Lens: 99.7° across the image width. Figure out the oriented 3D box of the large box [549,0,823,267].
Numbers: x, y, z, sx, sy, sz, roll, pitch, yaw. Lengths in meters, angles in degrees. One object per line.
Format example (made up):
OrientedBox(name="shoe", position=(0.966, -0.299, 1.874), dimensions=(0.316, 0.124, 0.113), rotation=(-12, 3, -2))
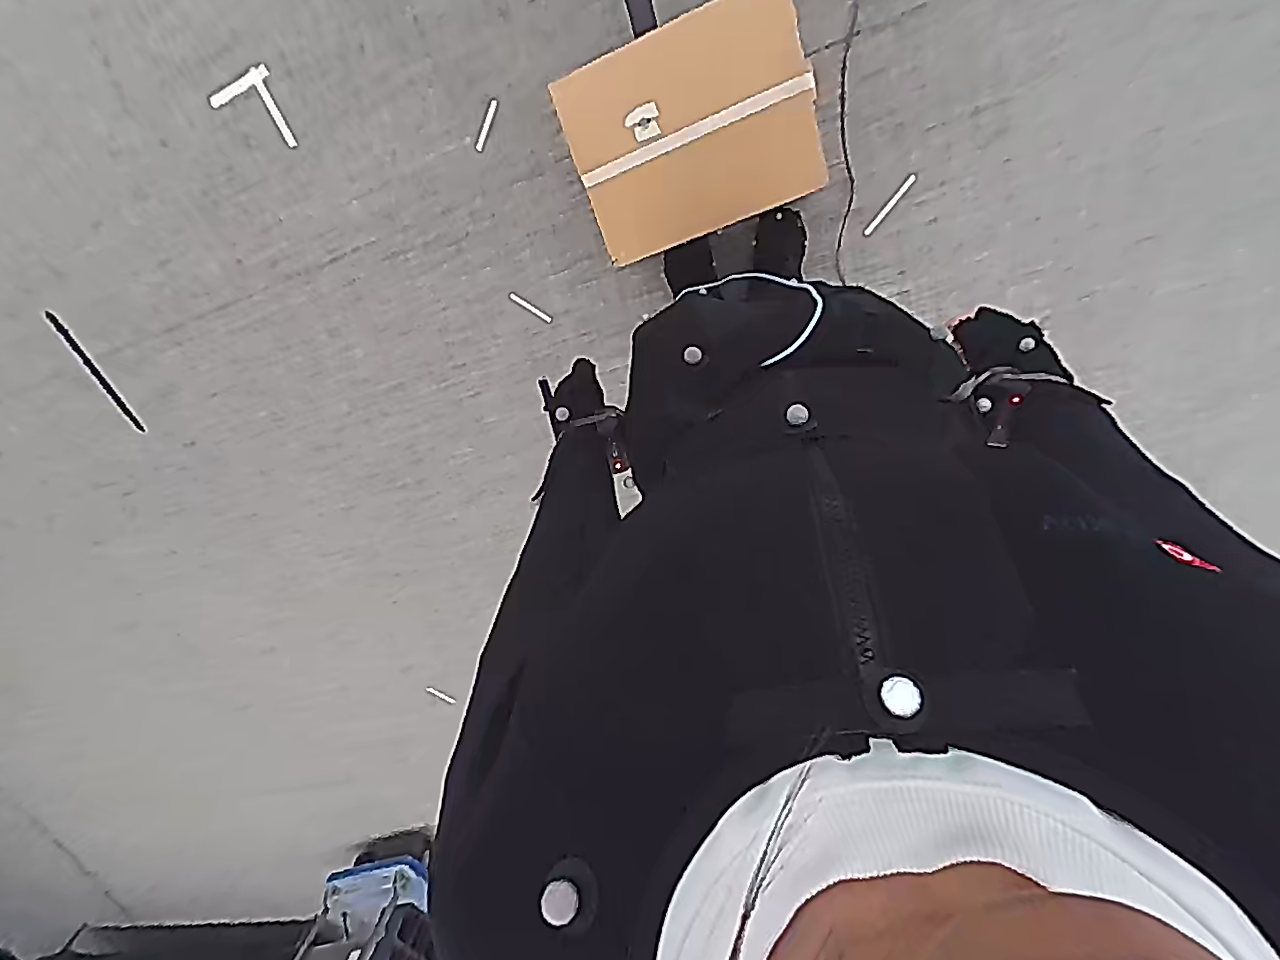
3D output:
OrientedBox(name="large box", position=(0.101, -0.655, 1.045), dimensions=(0.408, 0.320, 0.320), rotation=(-15, 114, 17))
